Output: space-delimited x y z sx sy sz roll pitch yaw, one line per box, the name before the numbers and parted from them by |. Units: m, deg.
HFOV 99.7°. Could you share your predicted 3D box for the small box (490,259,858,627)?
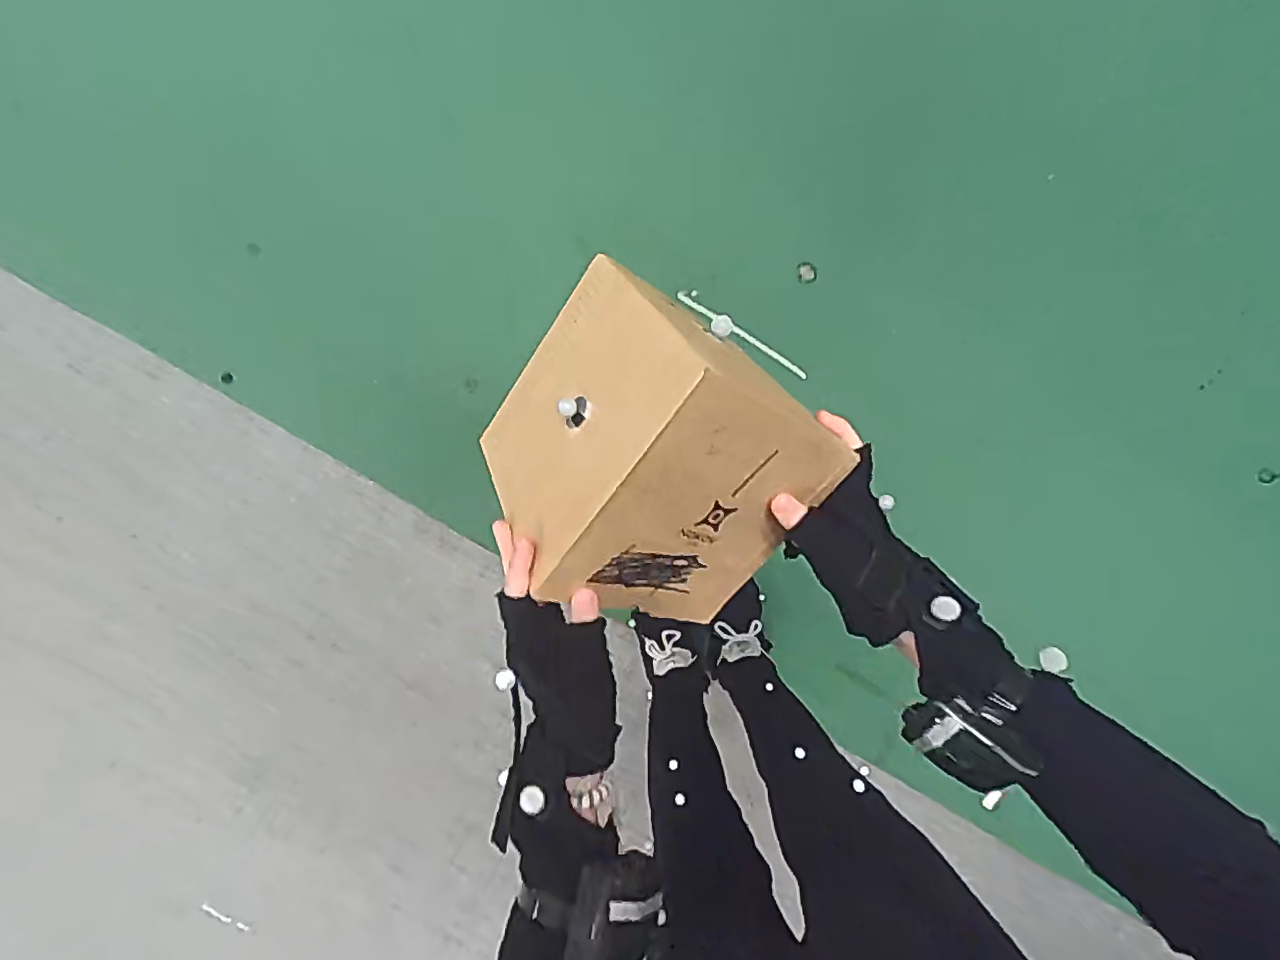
small box | 0.009 -0.021 0.391 0.168 0.176 0.179 20 117 -41
